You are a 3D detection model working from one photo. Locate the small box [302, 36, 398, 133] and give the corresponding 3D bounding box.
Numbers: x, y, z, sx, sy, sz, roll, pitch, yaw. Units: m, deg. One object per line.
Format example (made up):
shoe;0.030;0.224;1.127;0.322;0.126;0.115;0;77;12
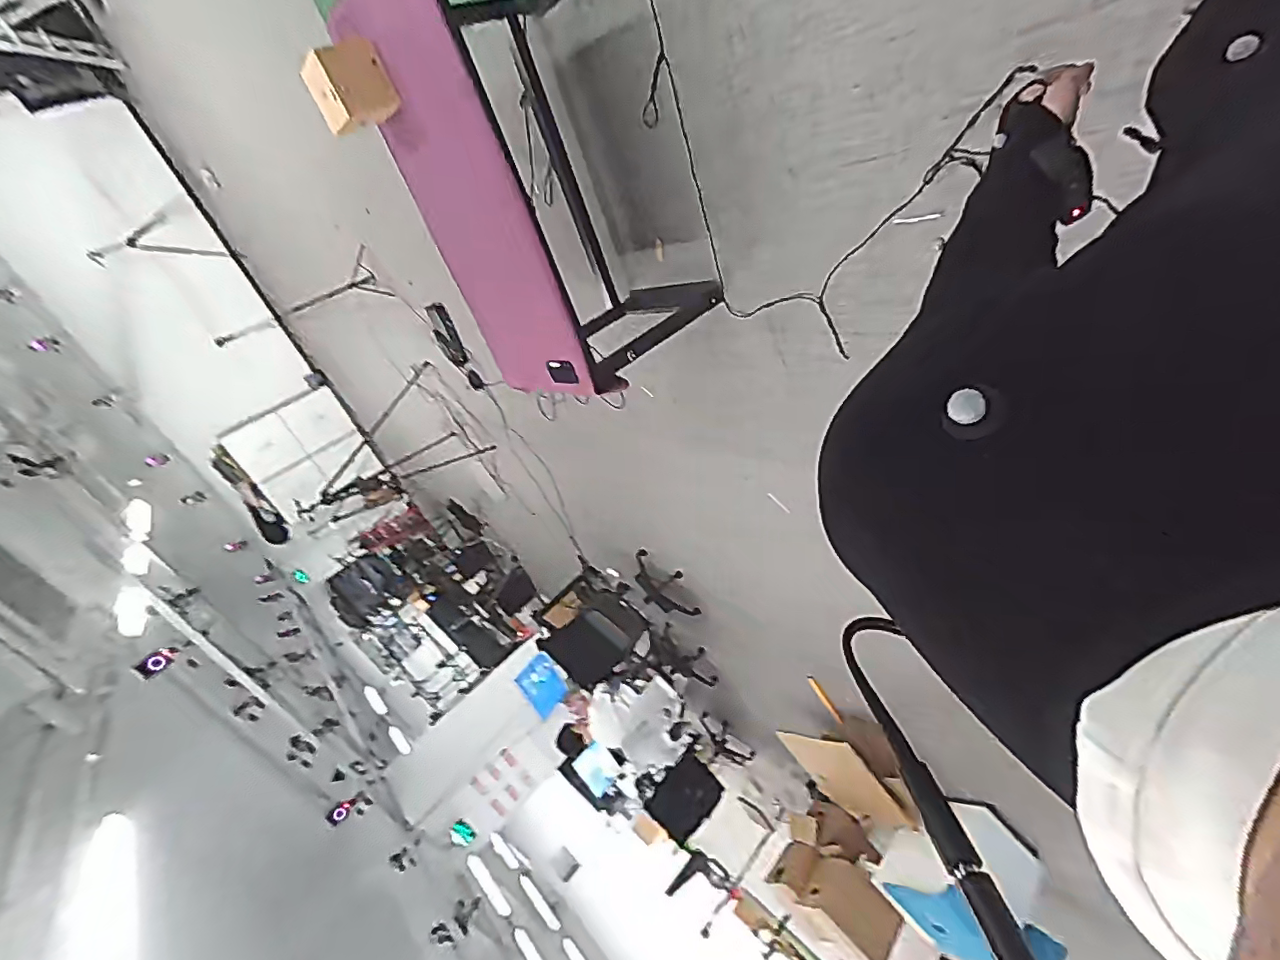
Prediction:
small box;-0.827;-1.132;1.552;0.179;0.176;0.168;14;136;48
